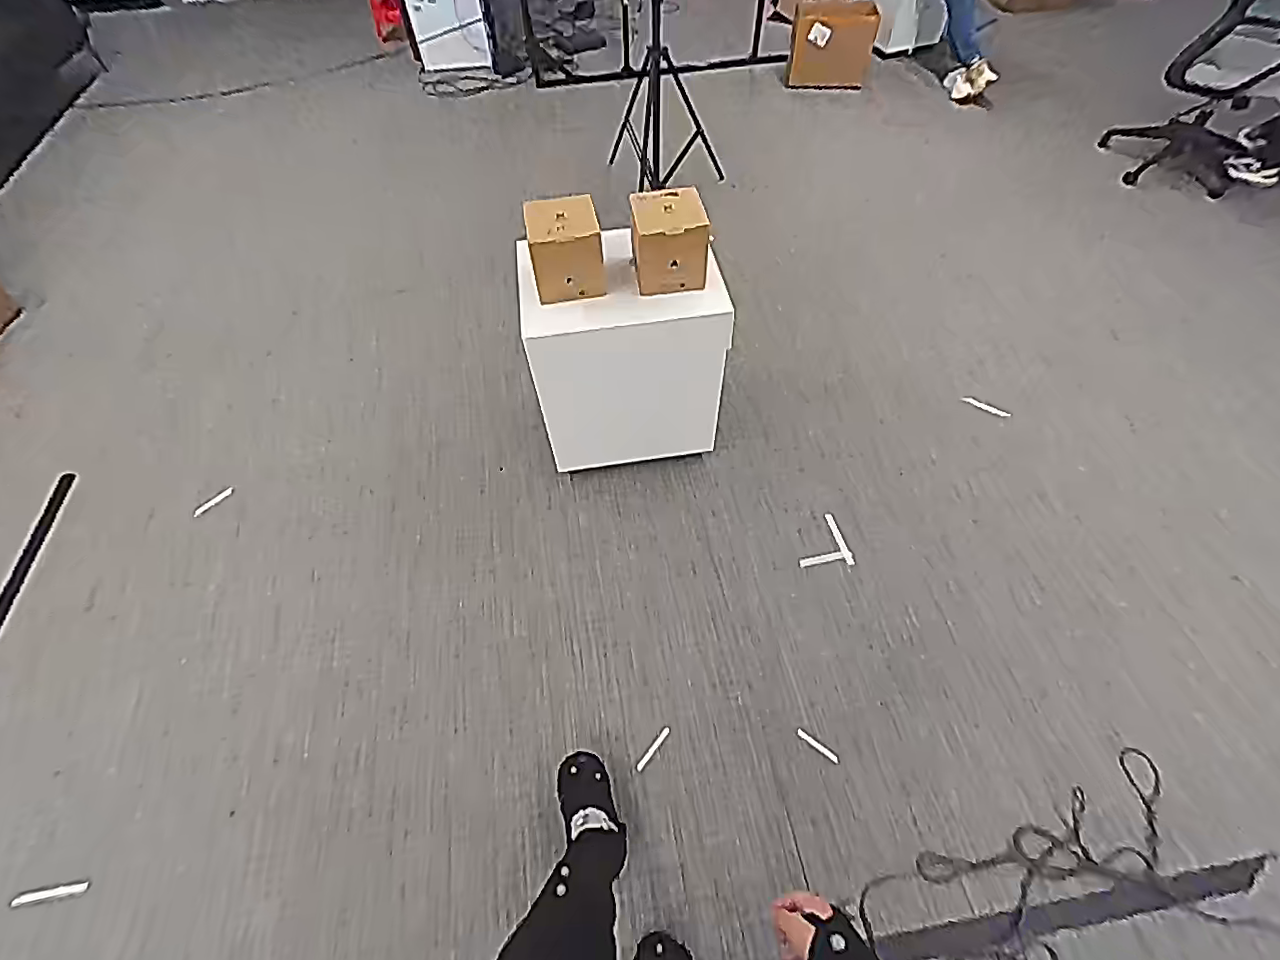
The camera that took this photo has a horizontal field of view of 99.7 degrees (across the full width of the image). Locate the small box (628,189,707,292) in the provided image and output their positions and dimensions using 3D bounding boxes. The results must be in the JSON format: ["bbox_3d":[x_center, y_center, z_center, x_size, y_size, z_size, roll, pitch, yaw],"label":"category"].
[{"bbox_3d":[0.064,-0.577,1.322,0.168,0.176,0.179,-7,57,-3],"label":"small box"}]

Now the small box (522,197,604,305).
[{"bbox_3d":[-0.184,-0.555,1.315,0.168,0.176,0.179,-11,57,-5],"label":"small box"}]
